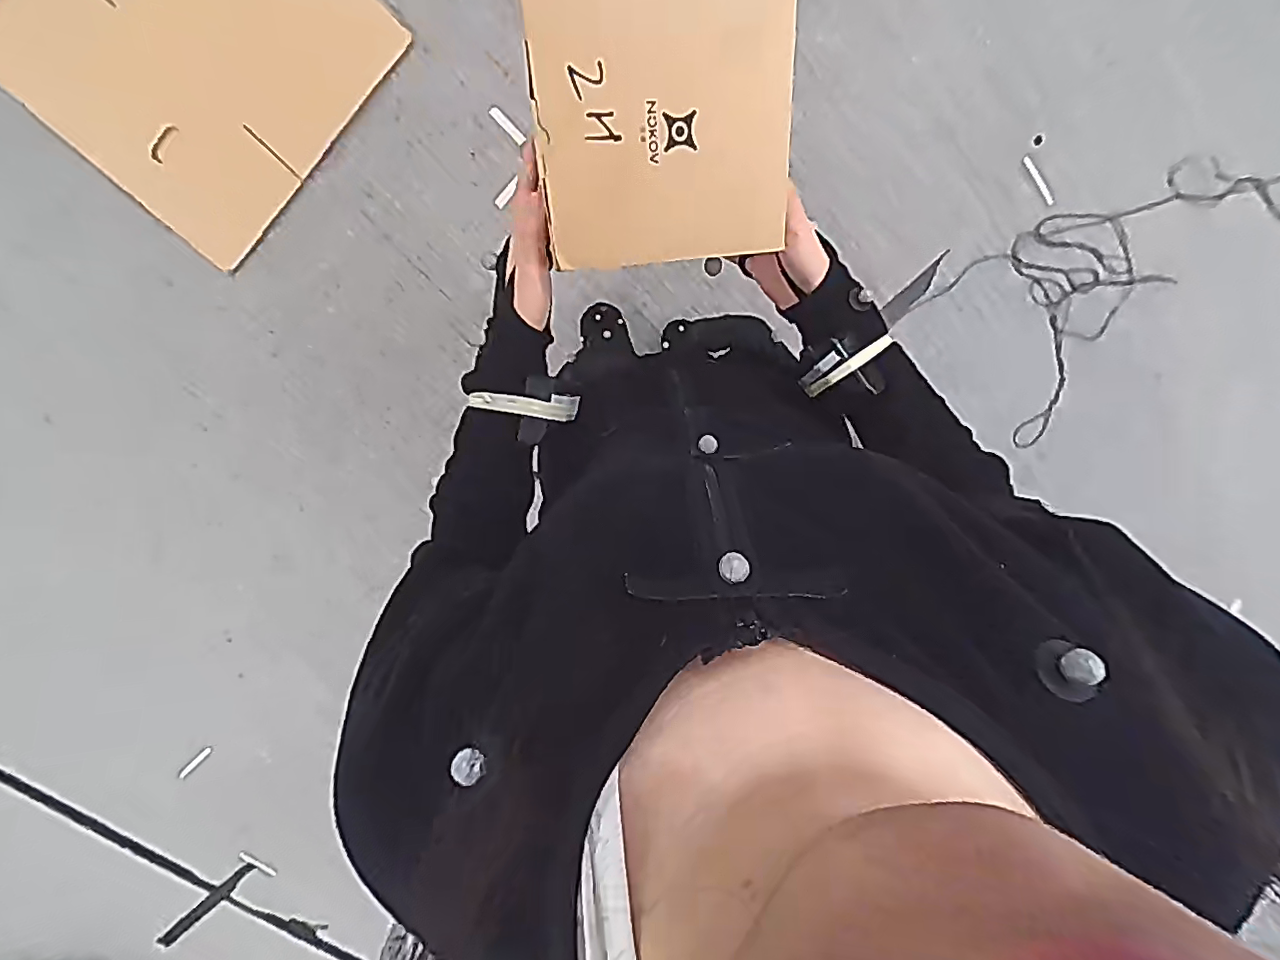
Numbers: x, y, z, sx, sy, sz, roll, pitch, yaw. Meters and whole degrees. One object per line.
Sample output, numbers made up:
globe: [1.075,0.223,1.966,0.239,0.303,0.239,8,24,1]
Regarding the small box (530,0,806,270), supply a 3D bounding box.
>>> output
small box: [0.010,-0.269,0.432,0.179,0.176,0.168,-7,117,-6]
